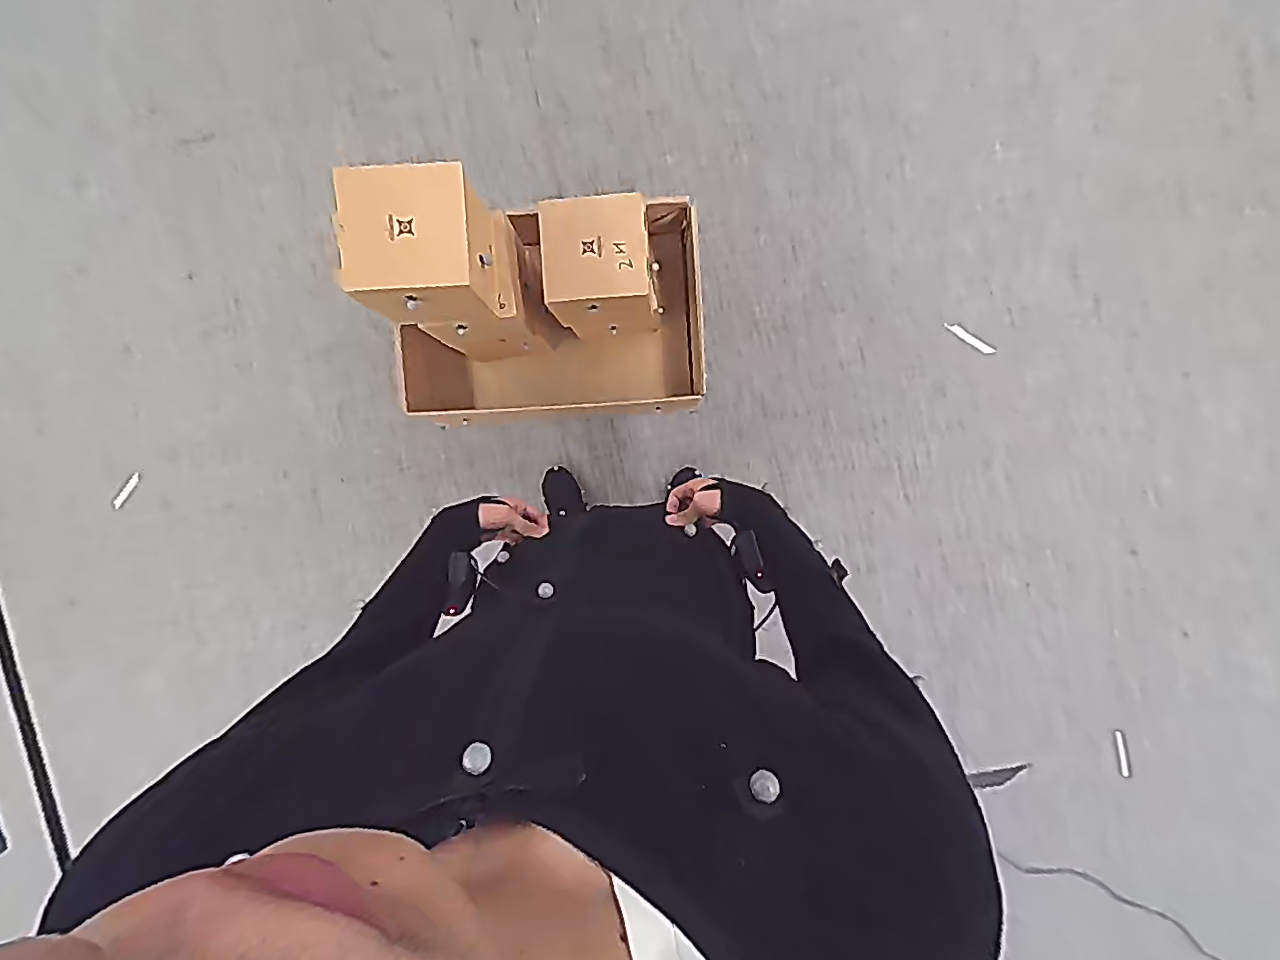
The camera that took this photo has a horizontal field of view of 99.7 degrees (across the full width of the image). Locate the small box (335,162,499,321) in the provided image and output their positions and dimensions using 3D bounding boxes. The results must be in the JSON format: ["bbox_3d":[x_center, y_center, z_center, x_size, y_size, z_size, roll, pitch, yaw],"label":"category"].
[{"bbox_3d":[-0.313,-0.340,0.798,0.179,0.176,0.168,-3,92,0],"label":"small box"}]
